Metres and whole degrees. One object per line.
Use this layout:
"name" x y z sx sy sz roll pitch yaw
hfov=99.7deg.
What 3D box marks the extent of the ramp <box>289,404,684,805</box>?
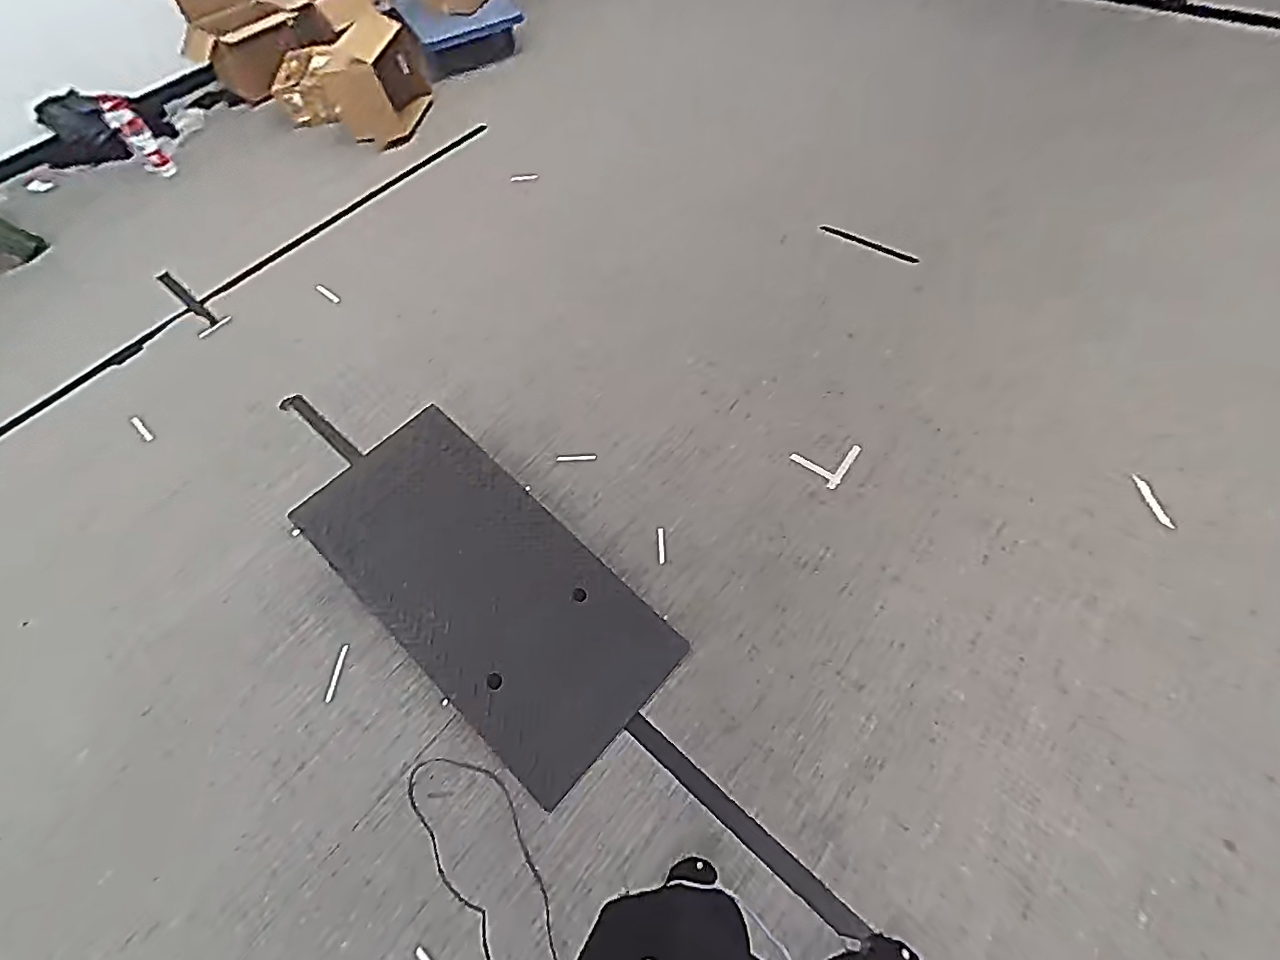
"ramp" -0.406 0.252 1.396 0.991 0.206 0.509 36 68 22
